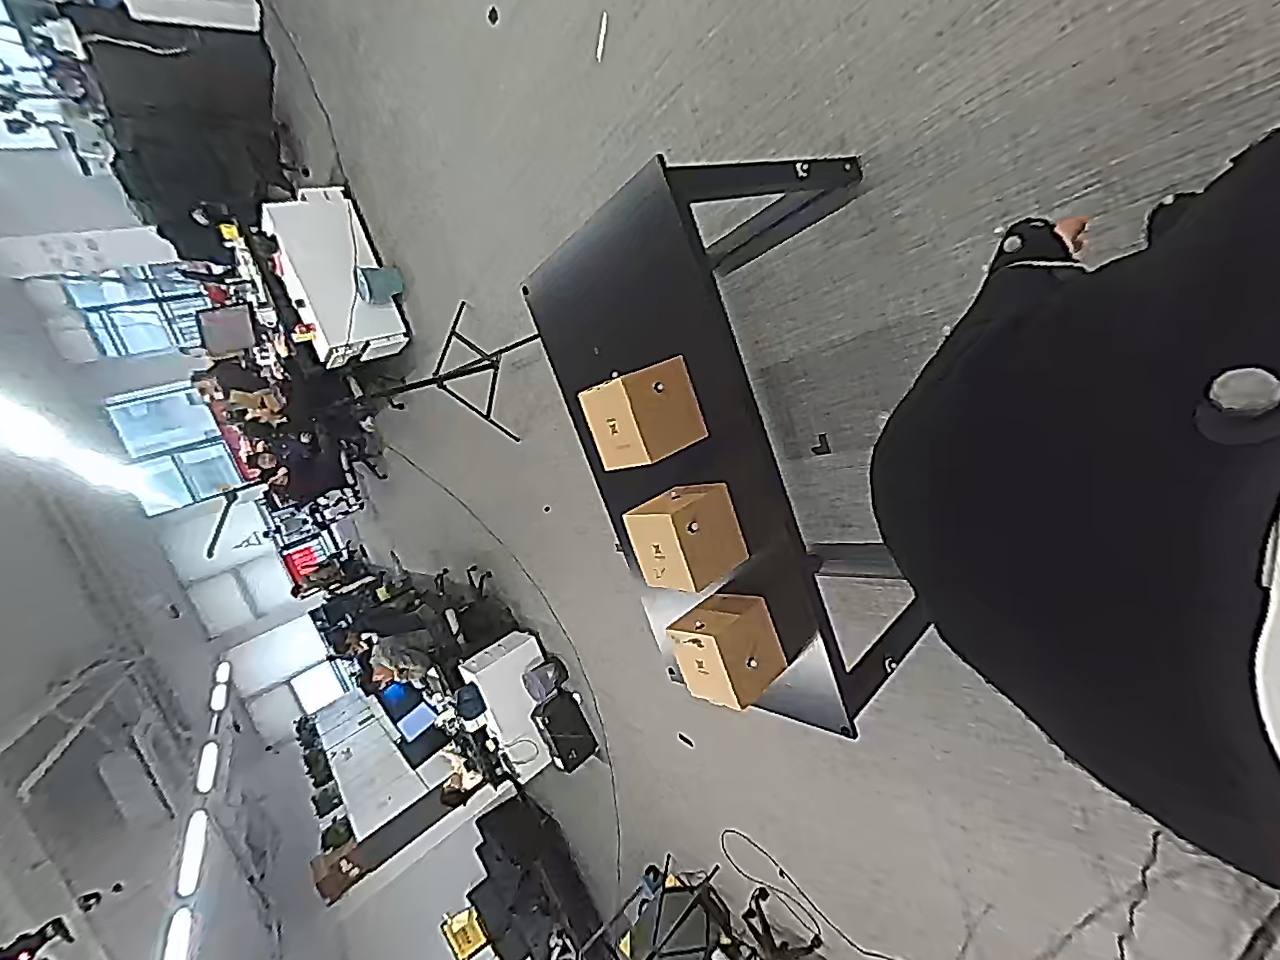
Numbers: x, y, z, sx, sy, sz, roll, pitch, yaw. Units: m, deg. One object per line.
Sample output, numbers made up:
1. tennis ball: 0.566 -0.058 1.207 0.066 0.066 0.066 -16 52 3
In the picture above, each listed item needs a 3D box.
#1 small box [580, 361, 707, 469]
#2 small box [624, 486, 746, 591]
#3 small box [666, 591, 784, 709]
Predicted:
1. small box: 0.009 -0.137 1.122 0.168 0.176 0.179 -8 104 56
2. small box: 0.099 0.117 1.168 0.168 0.176 0.179 -6 107 54
3. small box: 0.193 0.370 1.209 0.168 0.176 0.179 -12 102 54
